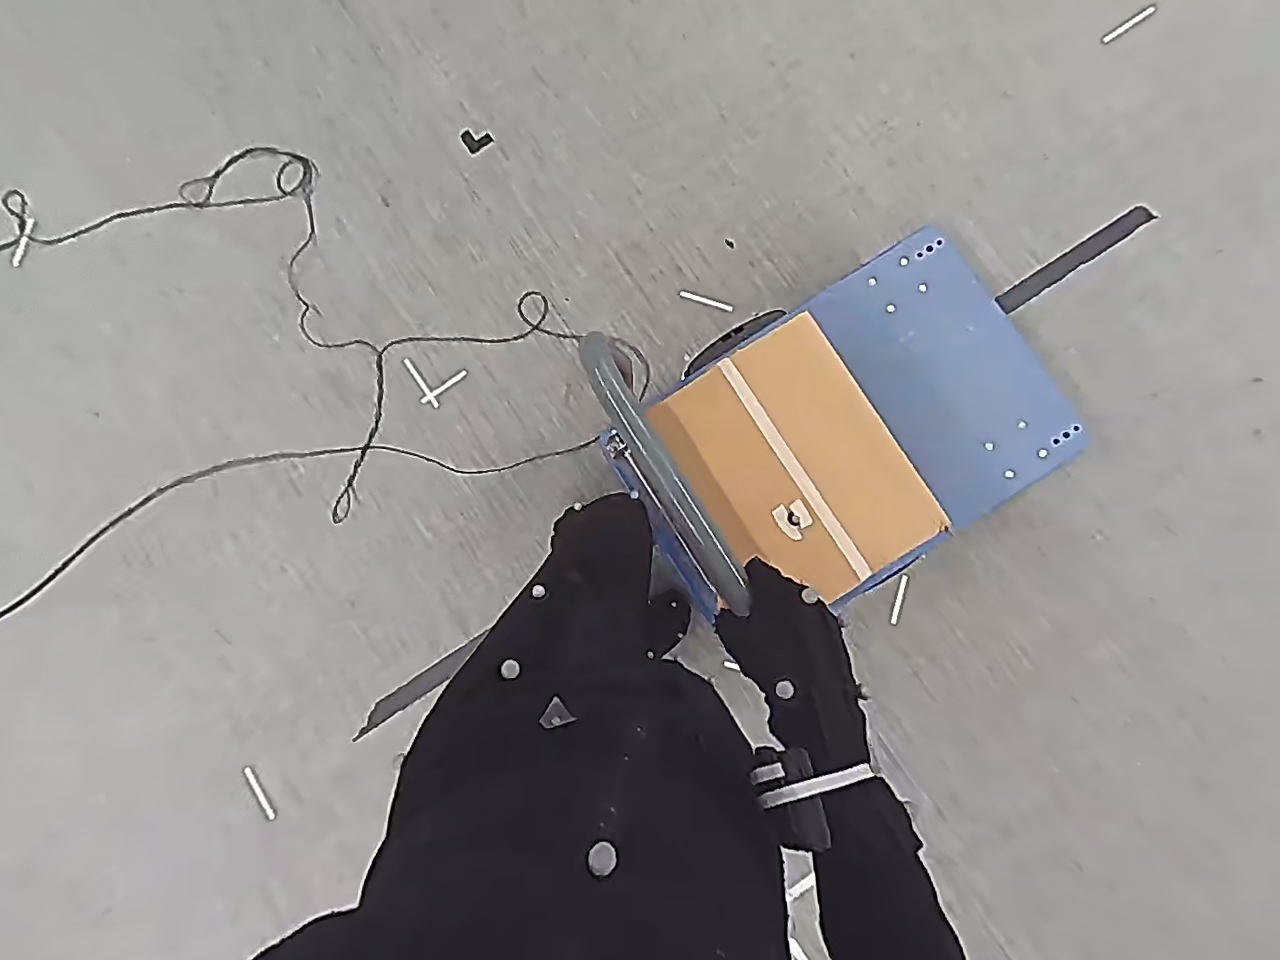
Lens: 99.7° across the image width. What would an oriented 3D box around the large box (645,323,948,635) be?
[{"bbox_3d":[0.242,0.003,0.987,0.320,0.320,0.408,-32,86,1],"label":"large box"}]
